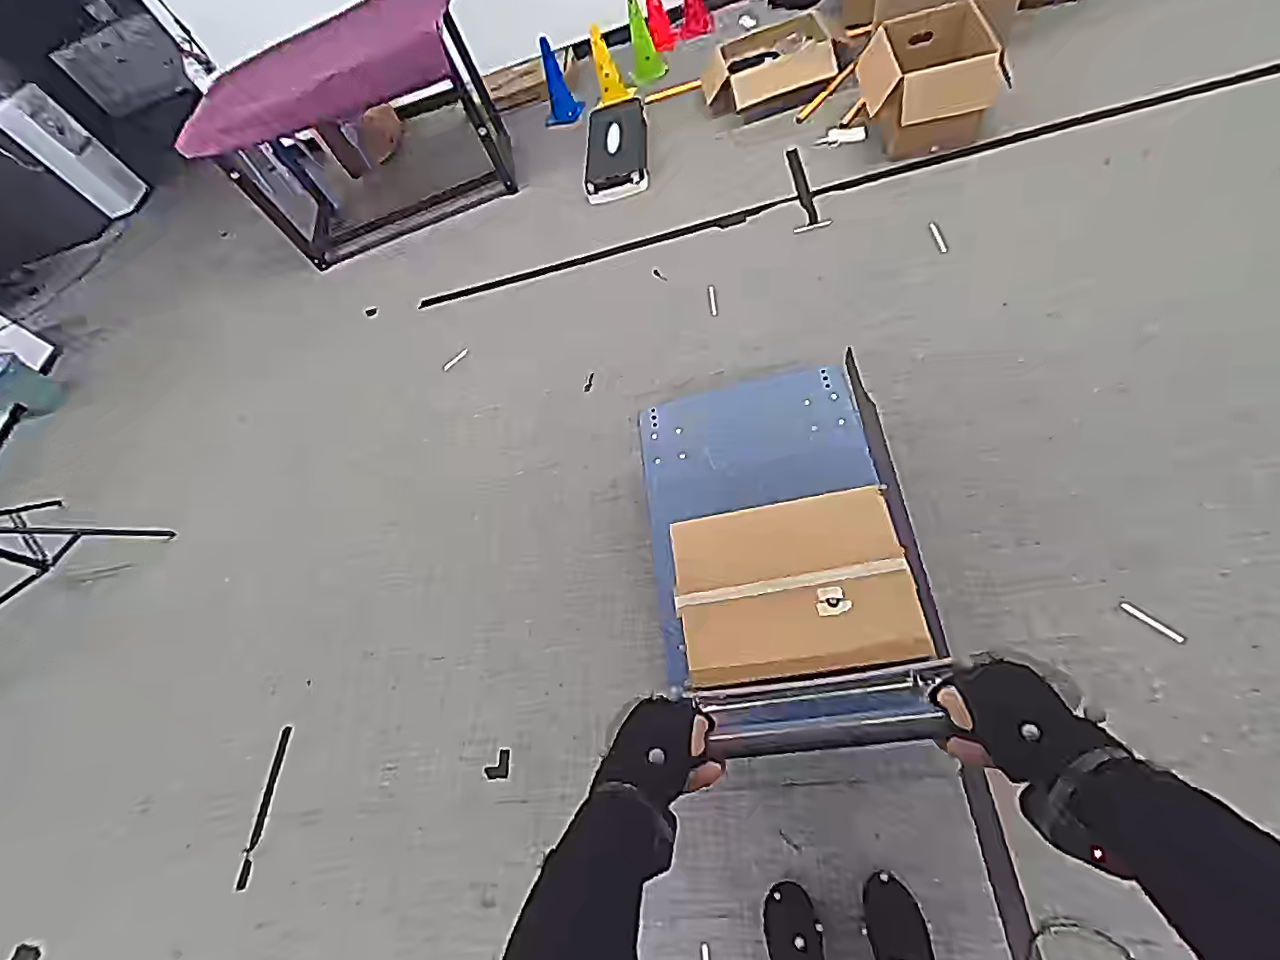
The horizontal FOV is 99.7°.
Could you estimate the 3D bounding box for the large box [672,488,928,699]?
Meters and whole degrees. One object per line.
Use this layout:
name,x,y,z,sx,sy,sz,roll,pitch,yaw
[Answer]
large box,0.305,0.253,1.122,0.408,0.320,0.320,-12,64,9
